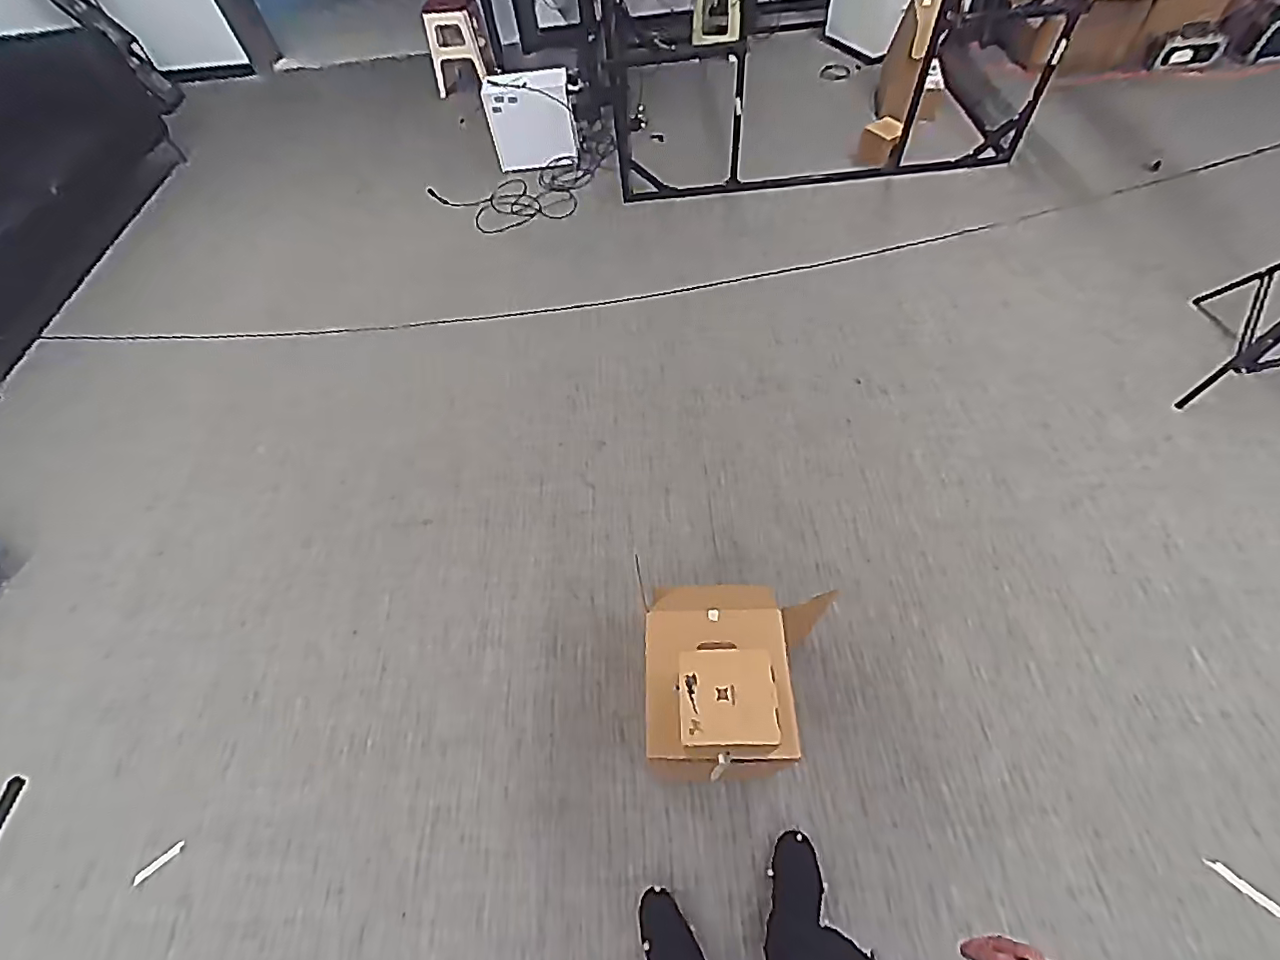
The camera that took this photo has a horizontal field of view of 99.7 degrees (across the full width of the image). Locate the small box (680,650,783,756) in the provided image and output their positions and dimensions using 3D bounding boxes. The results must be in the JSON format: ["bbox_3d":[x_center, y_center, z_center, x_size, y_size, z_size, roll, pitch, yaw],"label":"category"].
[{"bbox_3d":[0.167,0.432,1.044,0.179,0.176,0.168,-2,58,4],"label":"small box"}]
